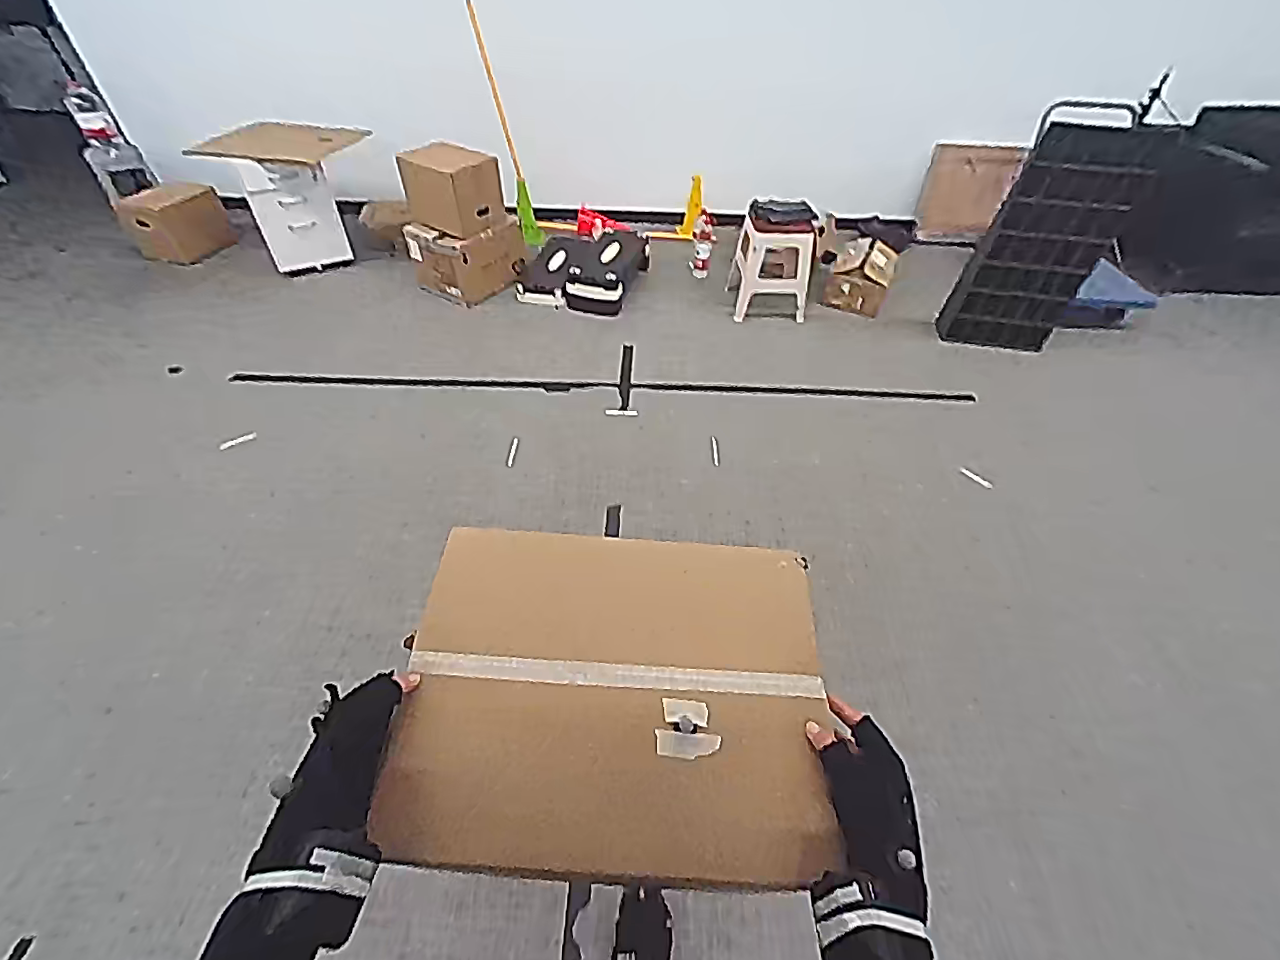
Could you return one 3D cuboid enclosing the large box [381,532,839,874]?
[{"bbox_3d":[-0.029,0.286,0.669,0.408,0.320,0.320,4,53,-1],"label":"large box"}]
